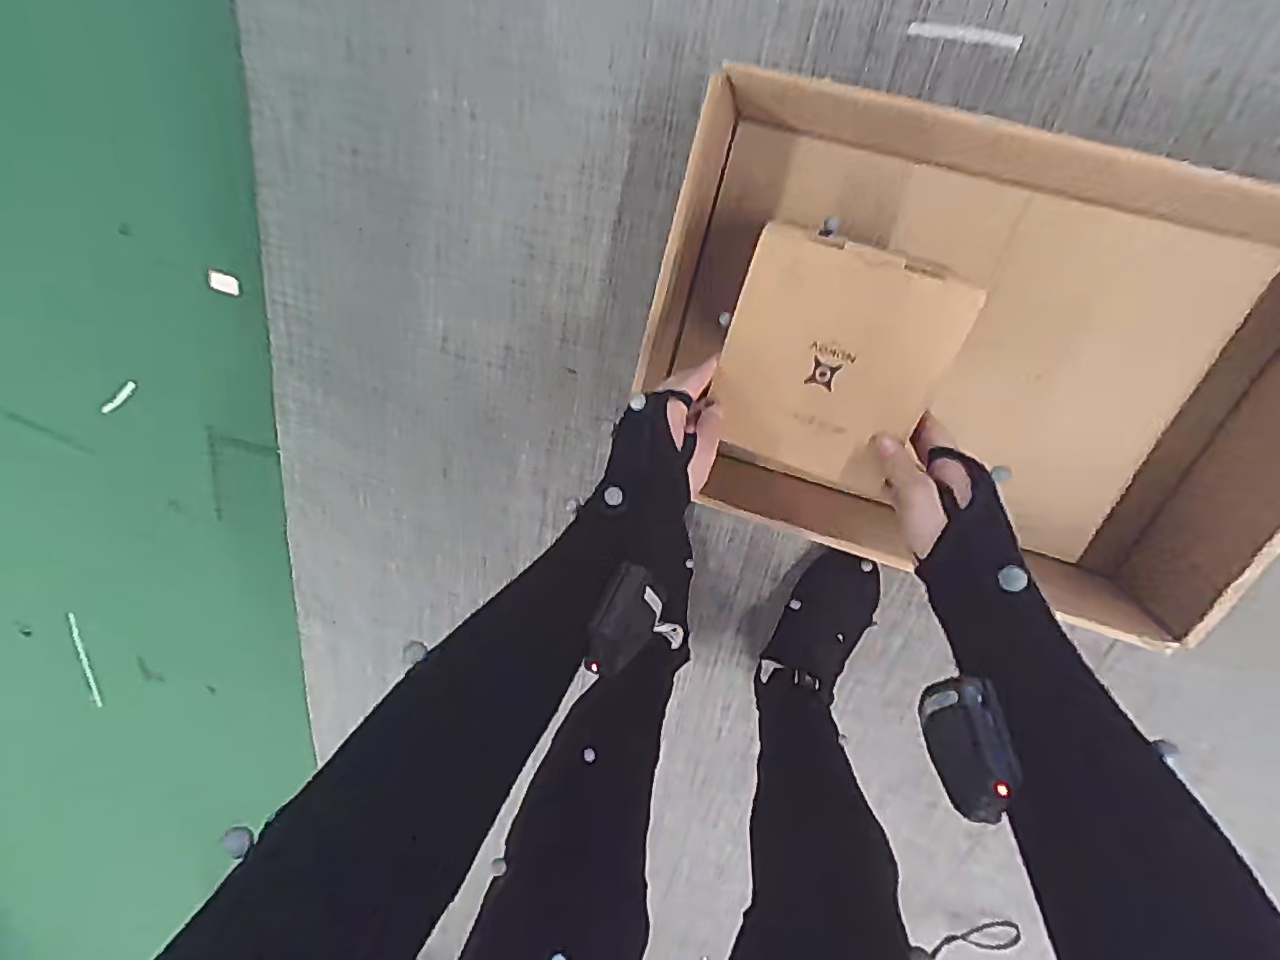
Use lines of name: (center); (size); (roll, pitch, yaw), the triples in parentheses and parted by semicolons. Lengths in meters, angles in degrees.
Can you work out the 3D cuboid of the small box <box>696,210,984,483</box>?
small box: (0.167, -0.131, 0.495); (0.168, 0.176, 0.179); (21, 120, 9)
